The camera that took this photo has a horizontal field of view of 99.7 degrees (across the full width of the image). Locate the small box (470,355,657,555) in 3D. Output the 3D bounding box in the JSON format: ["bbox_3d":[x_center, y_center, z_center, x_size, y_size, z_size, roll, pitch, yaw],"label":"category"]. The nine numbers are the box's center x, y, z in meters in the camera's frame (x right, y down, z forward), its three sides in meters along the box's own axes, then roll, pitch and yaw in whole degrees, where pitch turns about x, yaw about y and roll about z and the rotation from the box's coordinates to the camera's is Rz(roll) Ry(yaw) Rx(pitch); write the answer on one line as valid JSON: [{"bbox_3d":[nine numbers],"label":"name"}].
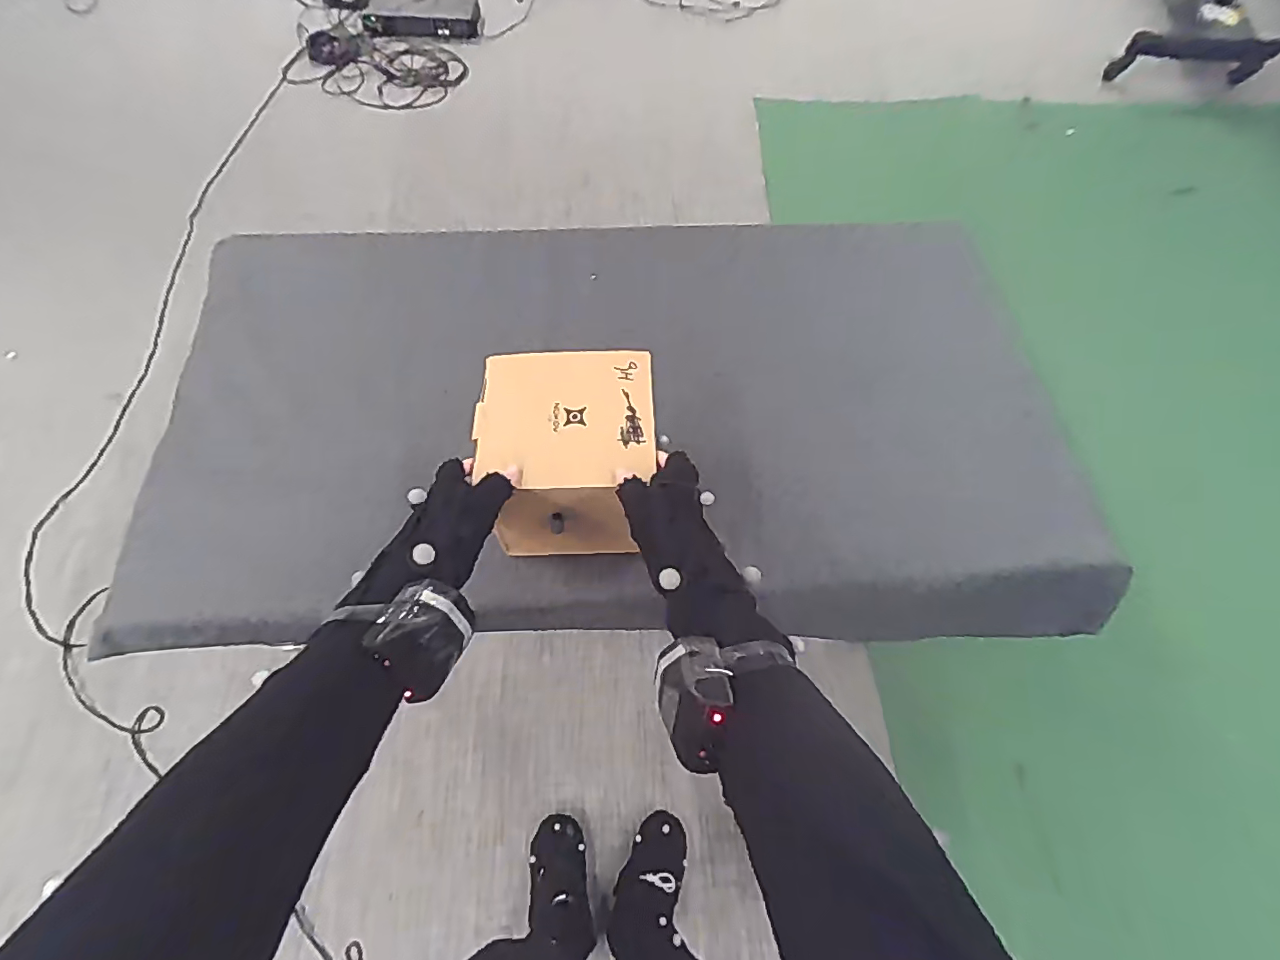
[{"bbox_3d":[-0.071,-0.020,0.607,0.179,0.176,0.168,-2,61,0],"label":"small box"}]
